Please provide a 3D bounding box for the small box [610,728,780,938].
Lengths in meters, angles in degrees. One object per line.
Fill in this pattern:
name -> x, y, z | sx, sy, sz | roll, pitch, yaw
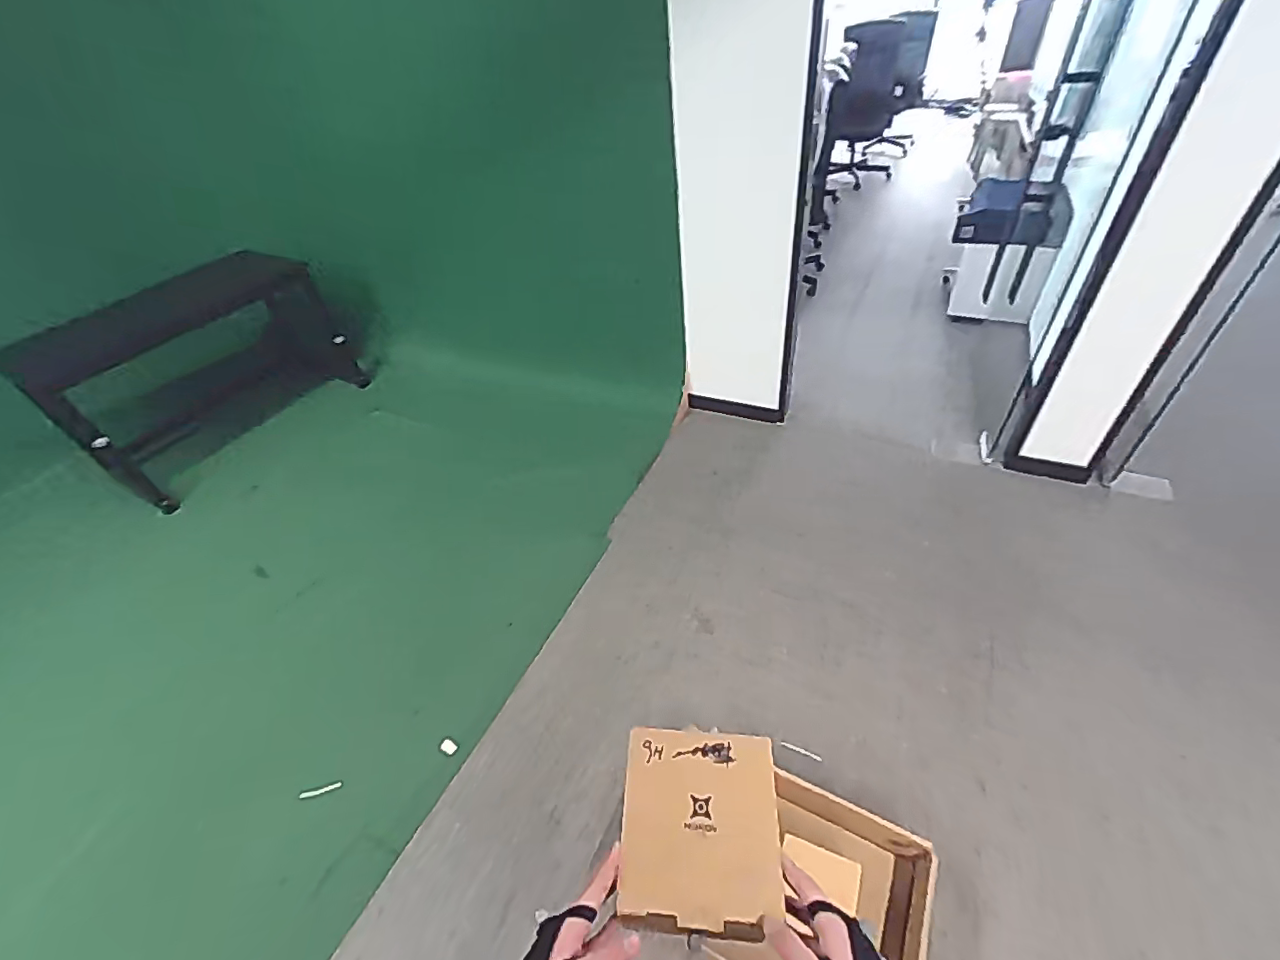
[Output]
small box -> 0.062, 0.411, 0.628 | 0.168, 0.176, 0.179 | 2, 47, 4
